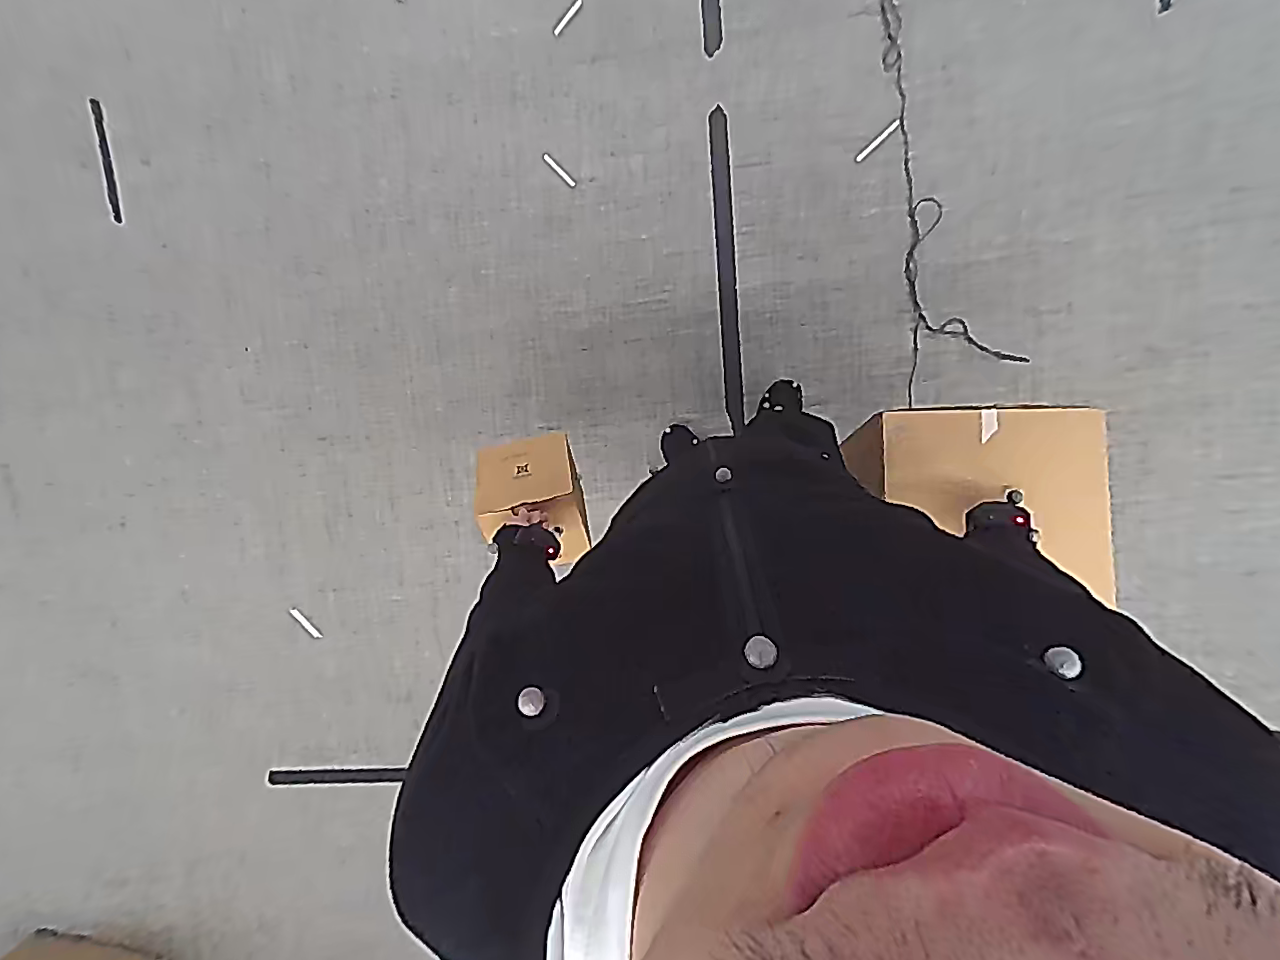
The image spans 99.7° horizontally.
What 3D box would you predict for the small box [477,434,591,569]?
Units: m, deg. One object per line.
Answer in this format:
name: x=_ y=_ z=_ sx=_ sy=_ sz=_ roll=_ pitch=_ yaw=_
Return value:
small box: x=-0.193 y=0.046 z=1.002 sx=0.168 sy=0.179 sz=0.176 roll=-13 pitch=131 yaw=-4
